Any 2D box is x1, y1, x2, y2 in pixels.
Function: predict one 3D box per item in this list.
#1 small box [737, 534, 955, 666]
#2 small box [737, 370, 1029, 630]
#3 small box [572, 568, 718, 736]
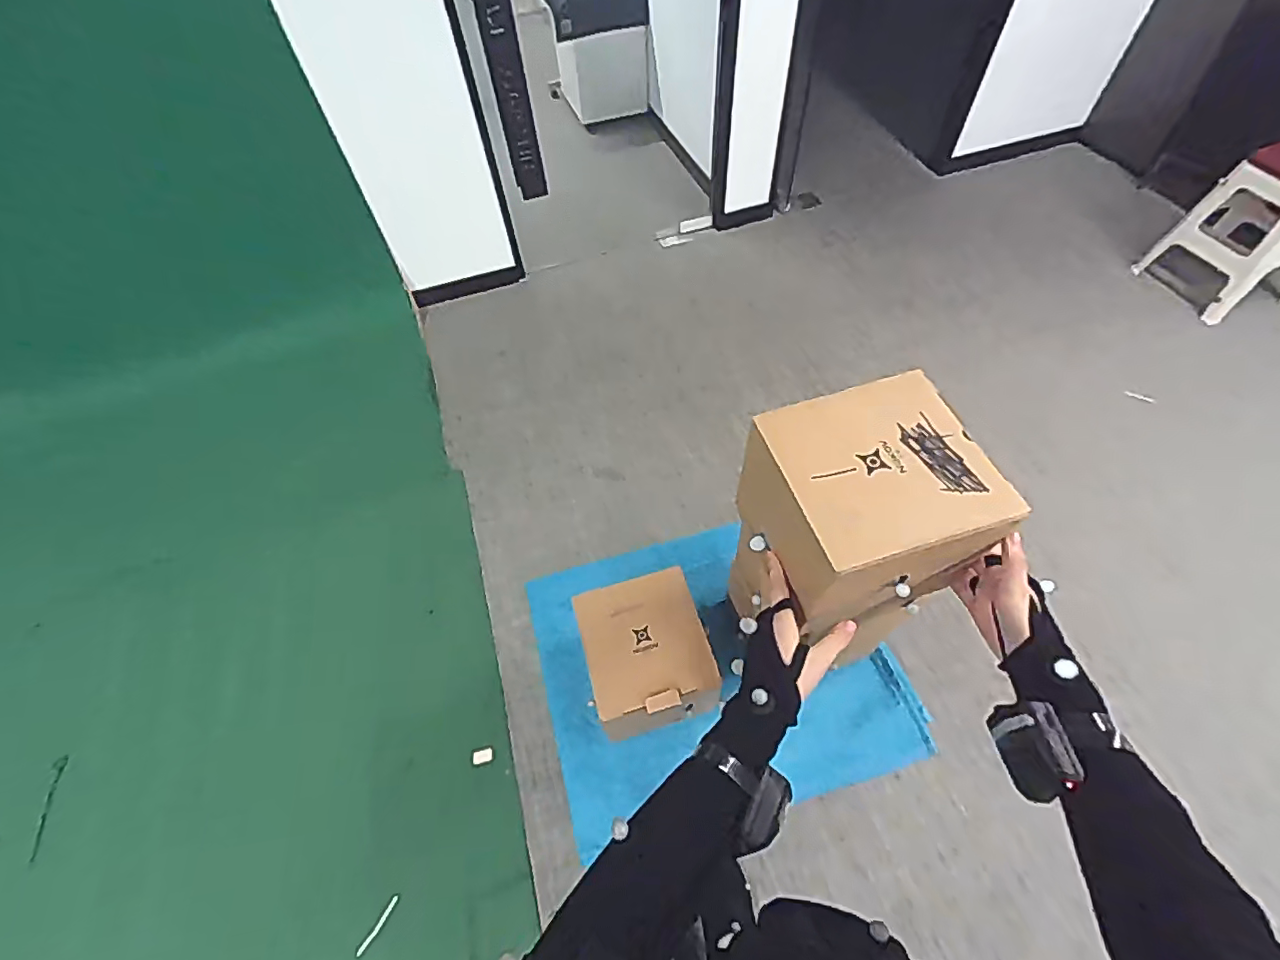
[{"bbox_3d":[0.236,0.109,0.675,0.179,0.176,0.168,-18,56,-7],"label":"small box"},{"bbox_3d":[0.208,0.026,0.524,0.179,0.176,0.168,-15,58,-5],"label":"small box"},{"bbox_3d":[0.006,0.258,0.789,0.168,0.176,0.179,-13,55,-7],"label":"small box"}]
